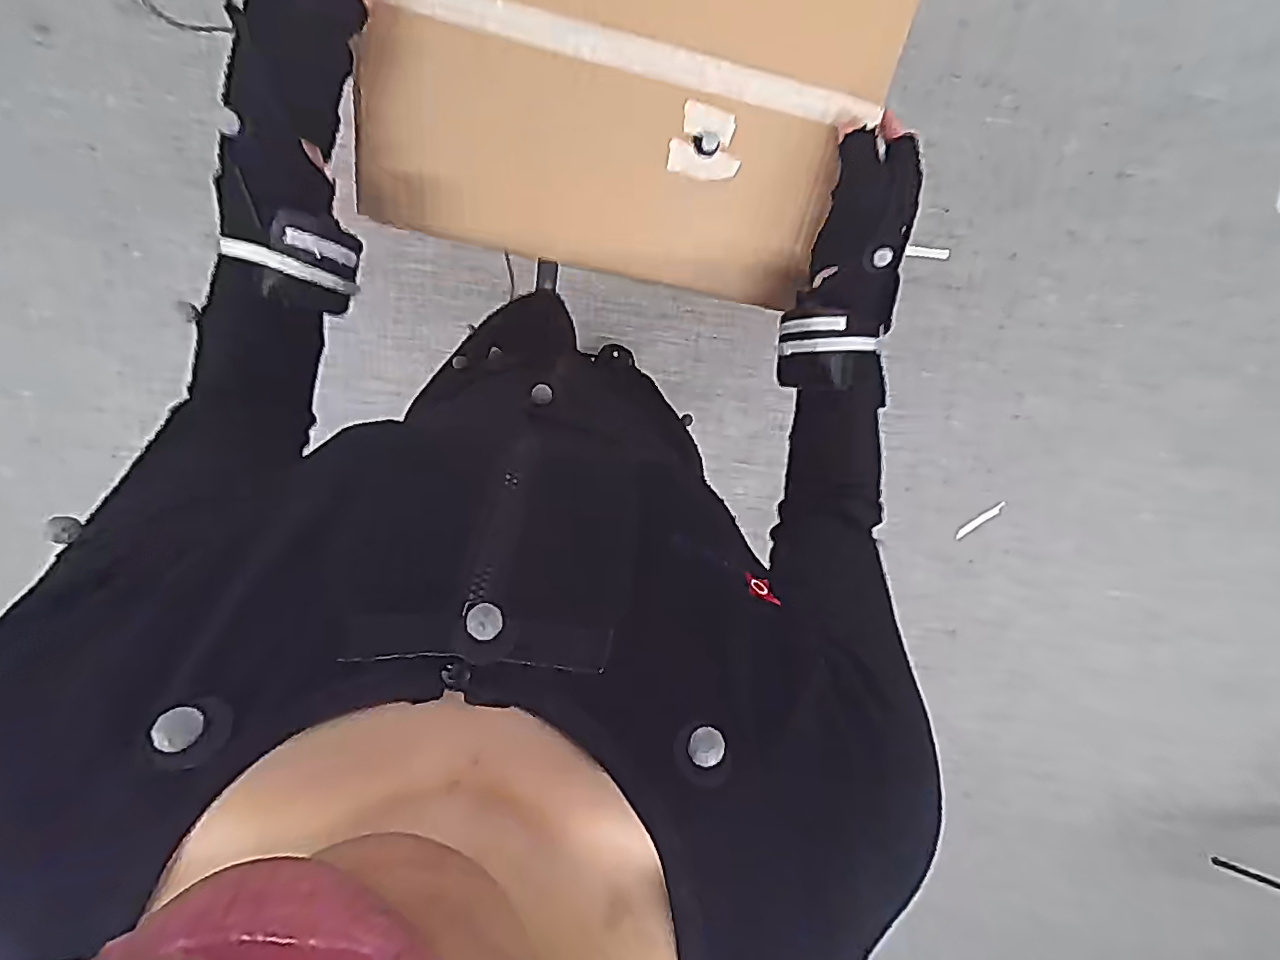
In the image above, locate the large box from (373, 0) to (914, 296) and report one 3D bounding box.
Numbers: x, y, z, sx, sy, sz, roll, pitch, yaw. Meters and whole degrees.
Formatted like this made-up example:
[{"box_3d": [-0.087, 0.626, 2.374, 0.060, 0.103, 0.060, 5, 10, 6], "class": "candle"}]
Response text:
[{"box_3d": [-0.011, -0.397, 0.549, 0.408, 0.320, 0.320, 8, 115, -9], "class": "large box"}]
